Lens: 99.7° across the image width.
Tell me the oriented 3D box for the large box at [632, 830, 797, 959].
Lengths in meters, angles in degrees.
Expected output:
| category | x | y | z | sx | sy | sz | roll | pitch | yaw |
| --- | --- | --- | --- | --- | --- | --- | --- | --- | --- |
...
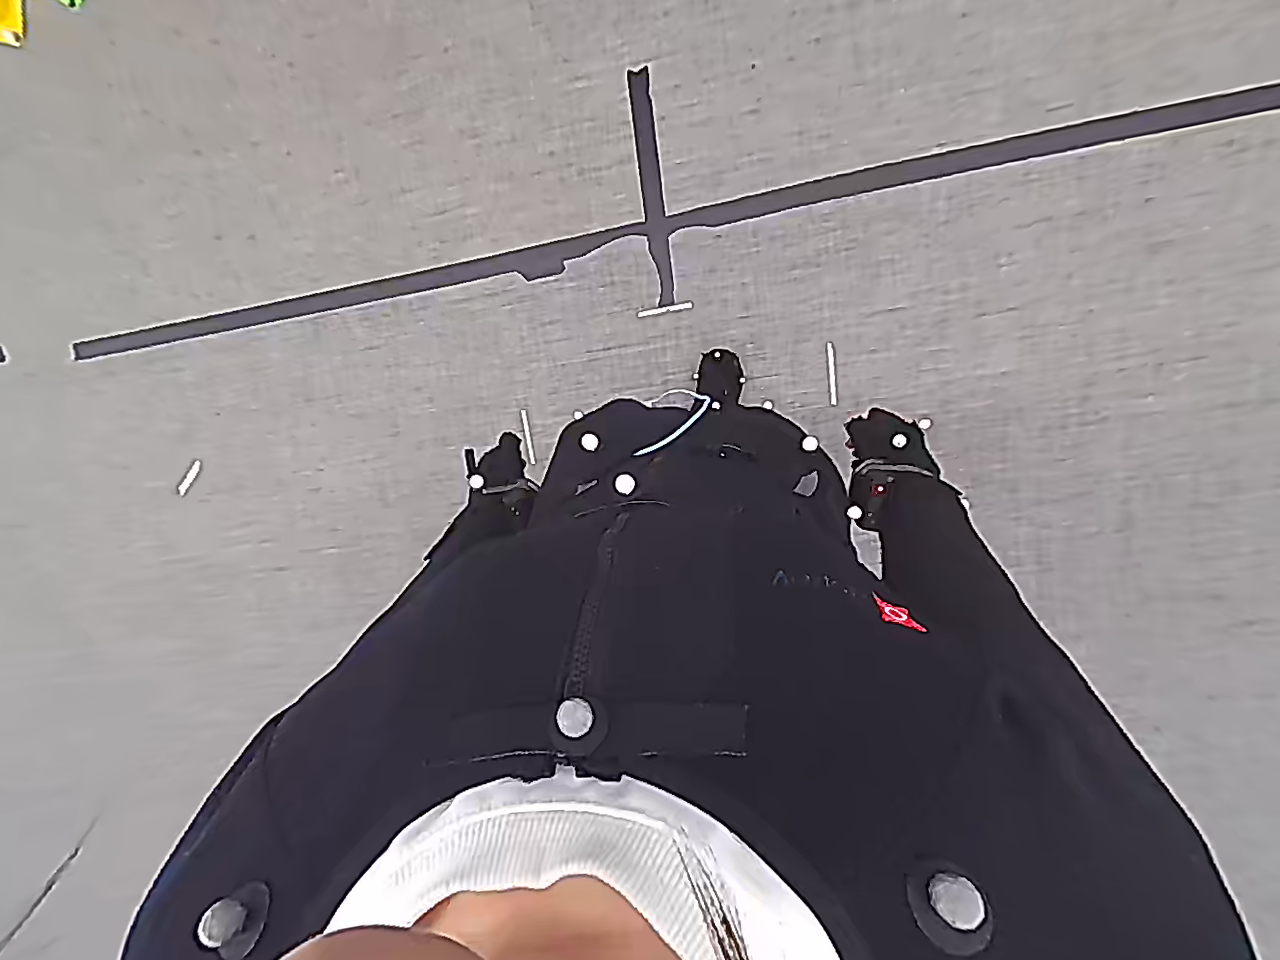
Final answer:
| category | x | y | z | sx | sy | sz | roll | pitch | yaw |
| --- | --- | --- | --- | --- | --- | --- | --- | --- | --- |
| large box | 0.223 | 1.295 | 1.575 | 0.408 | 0.320 | 0.320 | -14 | 102 | 10 |
